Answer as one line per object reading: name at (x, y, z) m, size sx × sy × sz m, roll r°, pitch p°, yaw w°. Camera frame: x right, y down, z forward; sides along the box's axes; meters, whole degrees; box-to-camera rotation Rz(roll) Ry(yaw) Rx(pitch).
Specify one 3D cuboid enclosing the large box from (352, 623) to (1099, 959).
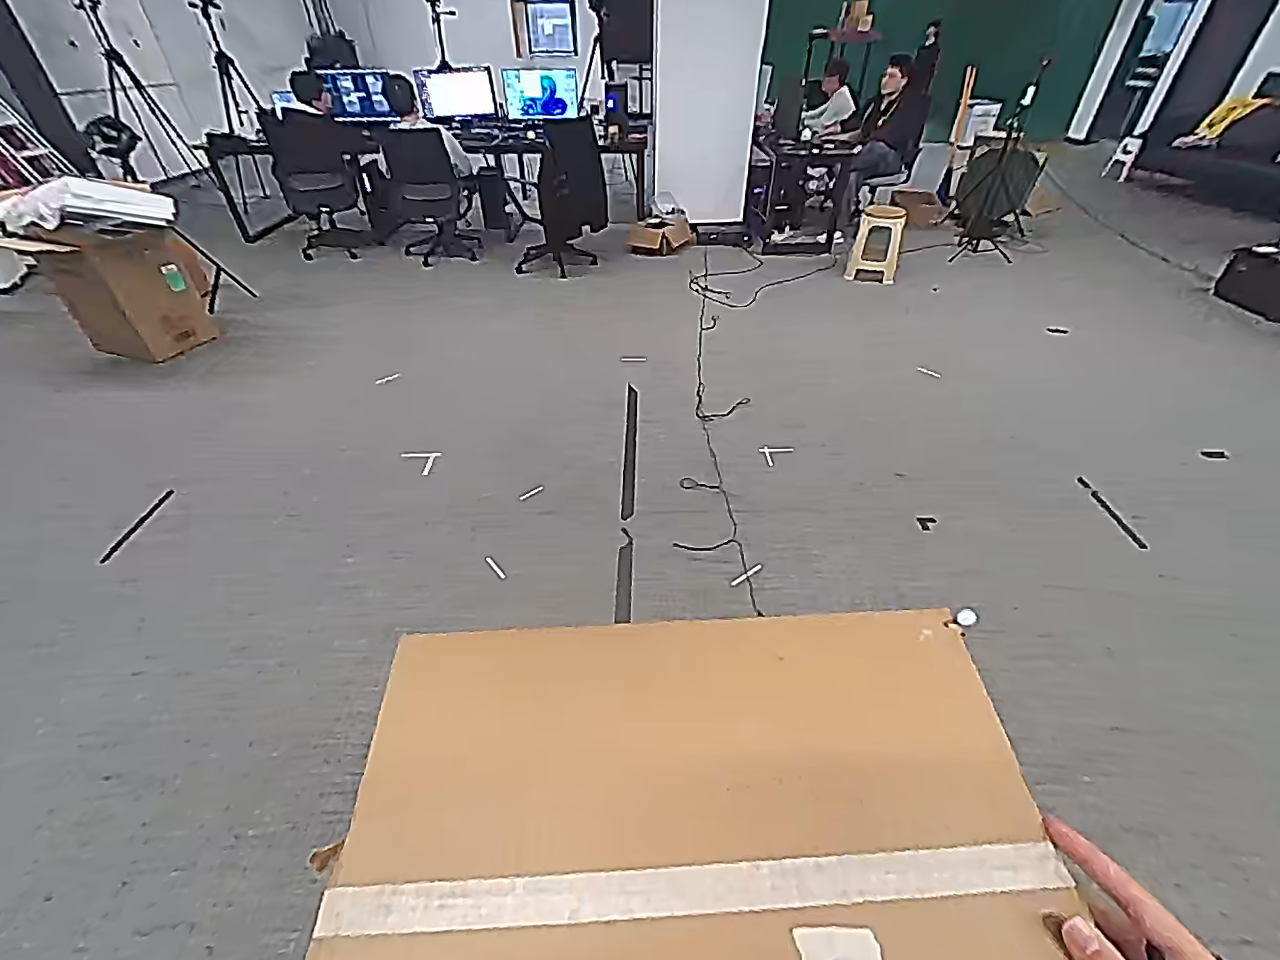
large box at (0.042, 0.330, 0.419) m, size 0.408 × 0.320 × 0.320 m, roll -2°, pitch 51°, yaw -2°
